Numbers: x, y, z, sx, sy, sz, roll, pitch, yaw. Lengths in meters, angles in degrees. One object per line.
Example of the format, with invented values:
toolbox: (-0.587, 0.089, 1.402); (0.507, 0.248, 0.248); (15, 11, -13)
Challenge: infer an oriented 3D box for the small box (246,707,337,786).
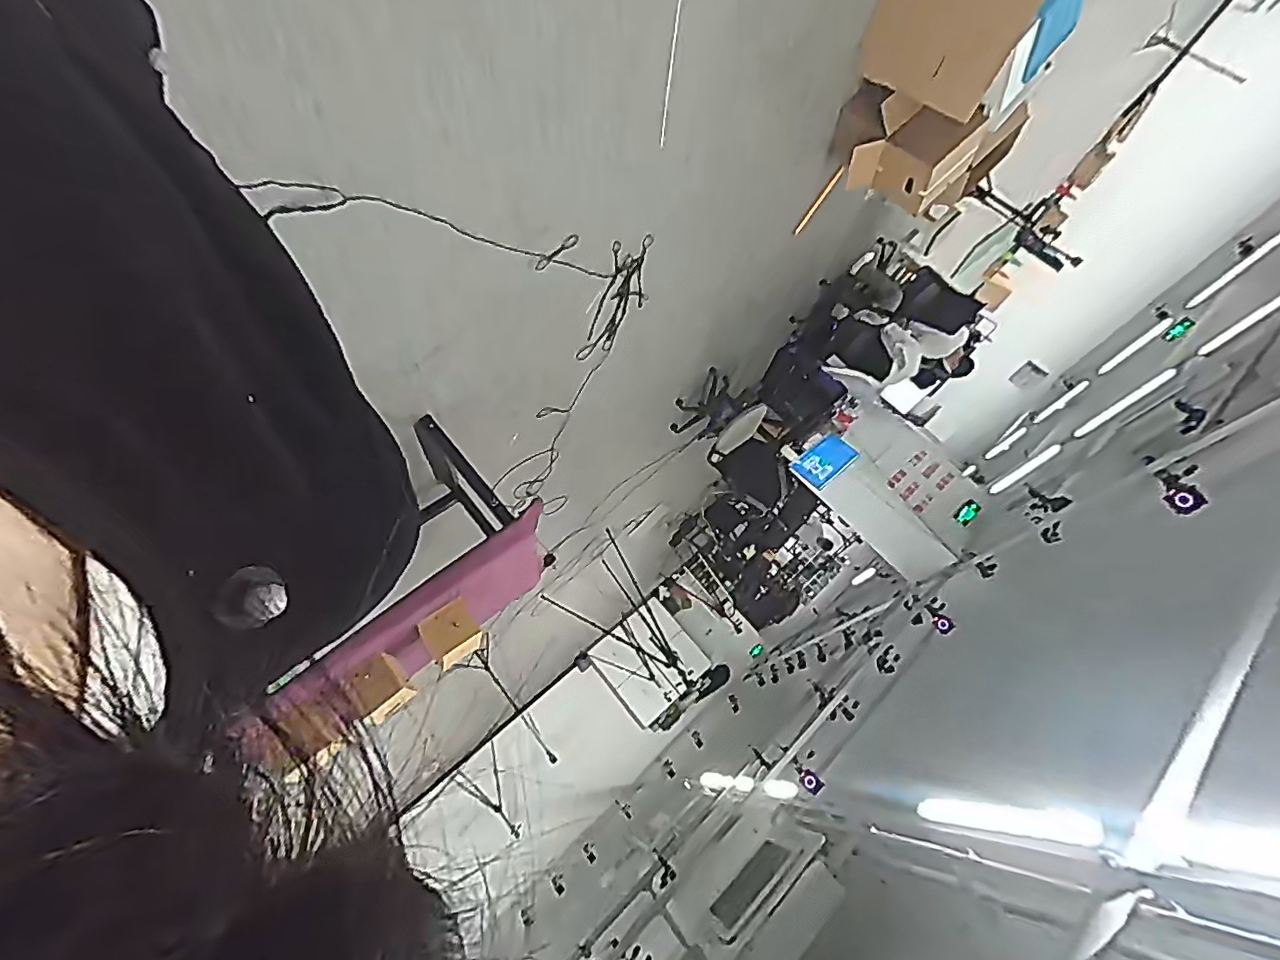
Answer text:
small box: (-1.158, 0.885, 1.802); (0.179, 0.176, 0.168); (-36, 163, -26)

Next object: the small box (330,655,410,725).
small box: (-0.962, 0.749, 1.933); (0.168, 0.176, 0.179); (-38, 162, -20)

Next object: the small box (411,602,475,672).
small box: (-0.749, 0.588, 2.046); (0.168, 0.176, 0.179); (-32, 161, -36)
